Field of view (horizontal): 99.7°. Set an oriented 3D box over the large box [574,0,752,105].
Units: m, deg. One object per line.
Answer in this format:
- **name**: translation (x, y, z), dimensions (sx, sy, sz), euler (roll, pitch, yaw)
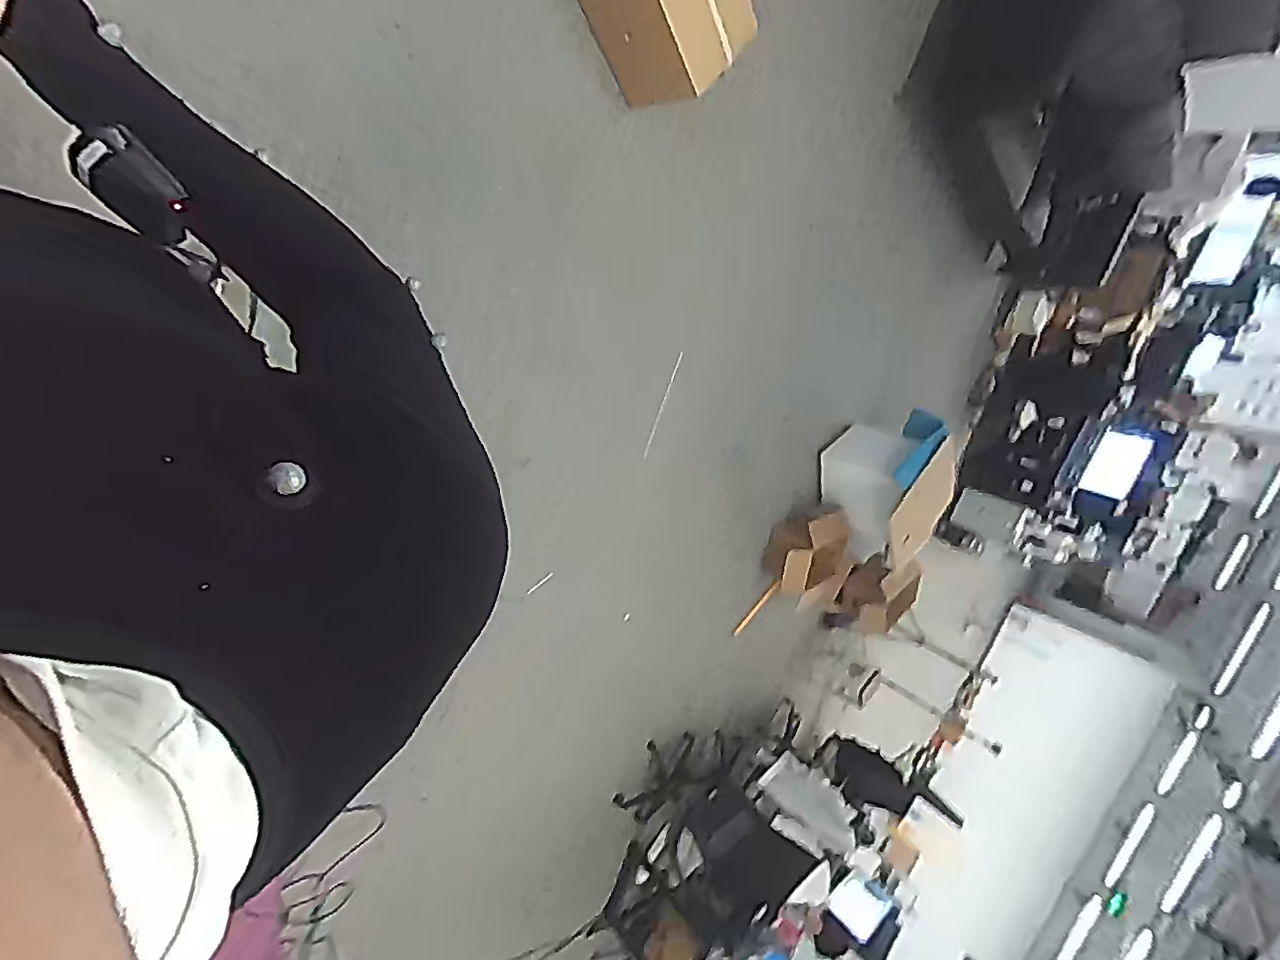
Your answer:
- **large box**: translation (0.049, -1.377, 1.531), dimensions (0.320, 0.320, 0.408), euler (-54, 136, -9)
